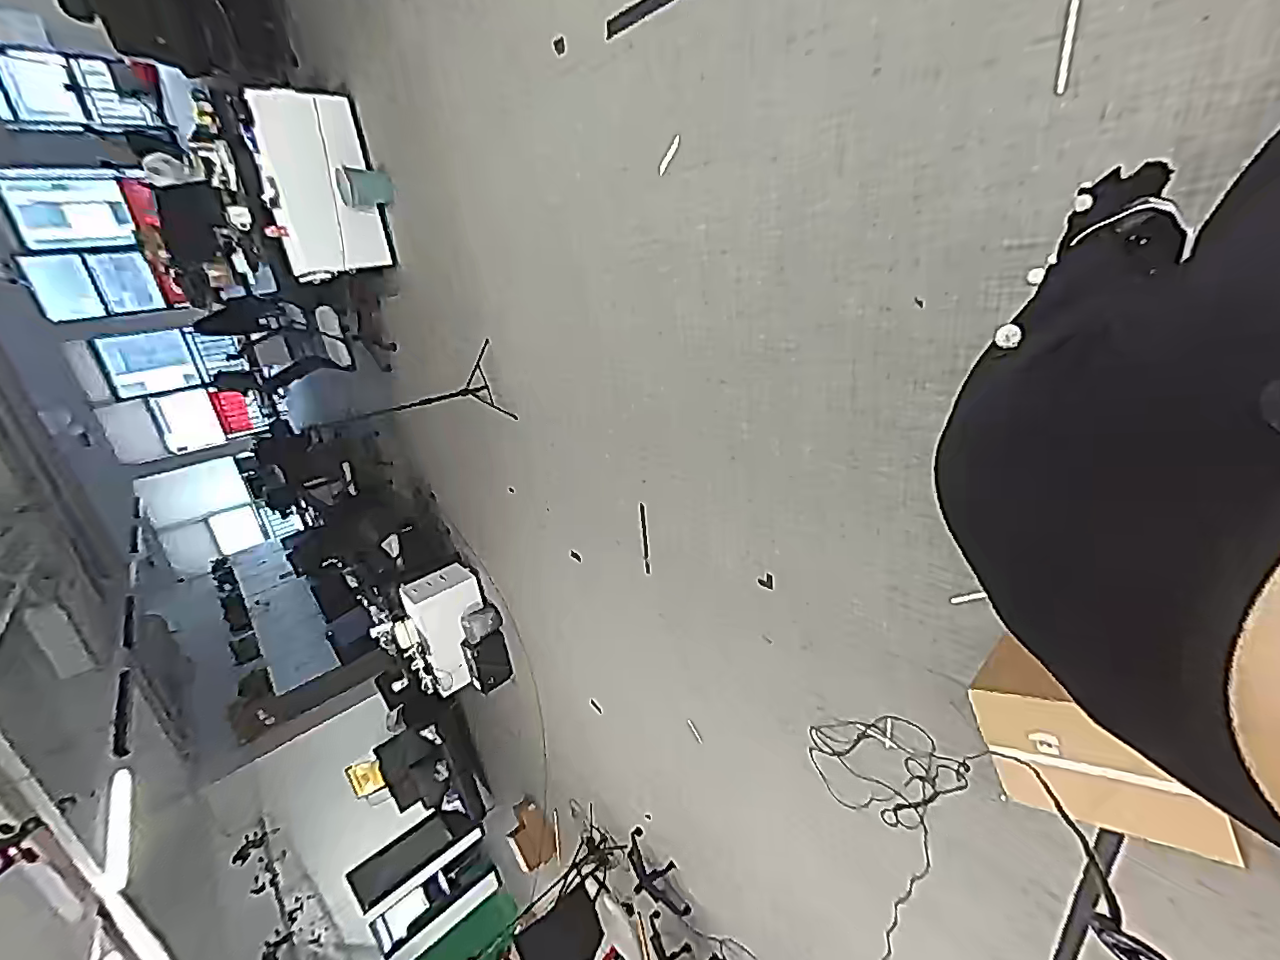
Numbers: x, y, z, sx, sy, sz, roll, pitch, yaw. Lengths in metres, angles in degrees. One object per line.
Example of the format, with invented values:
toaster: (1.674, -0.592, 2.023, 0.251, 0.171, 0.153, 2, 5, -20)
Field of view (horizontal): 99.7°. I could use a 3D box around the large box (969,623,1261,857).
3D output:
large box: (1.068, 0.543, 1.235, 0.408, 0.320, 0.320, -16, 97, 55)
